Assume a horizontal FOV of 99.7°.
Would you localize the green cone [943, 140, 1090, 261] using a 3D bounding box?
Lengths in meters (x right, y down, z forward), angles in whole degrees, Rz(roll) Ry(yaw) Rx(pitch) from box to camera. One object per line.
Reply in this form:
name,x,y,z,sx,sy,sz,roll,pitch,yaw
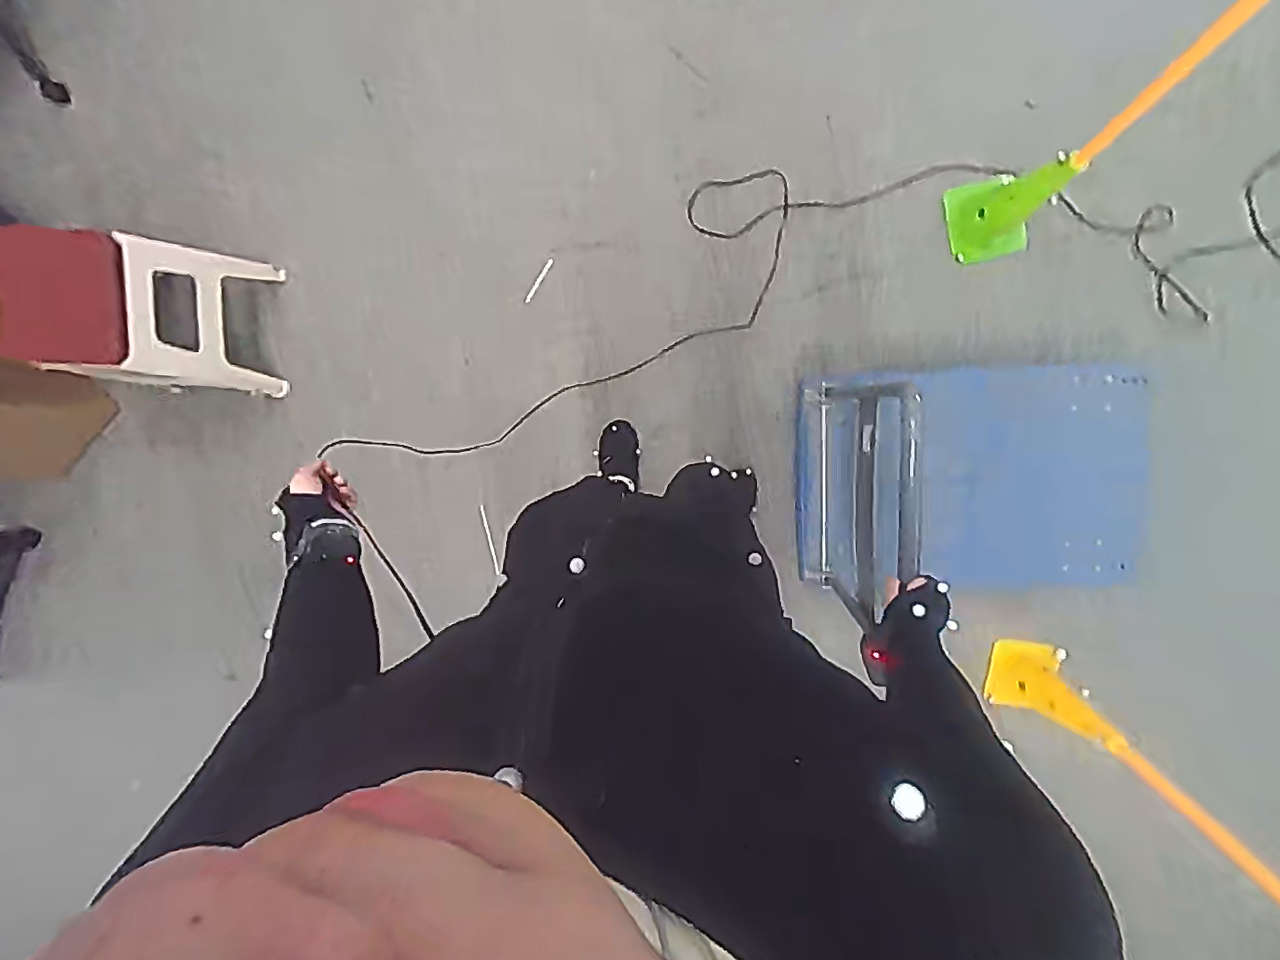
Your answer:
green cone,0.931,-0.698,1.300,0.200,0.368,0.202,-14,95,4
